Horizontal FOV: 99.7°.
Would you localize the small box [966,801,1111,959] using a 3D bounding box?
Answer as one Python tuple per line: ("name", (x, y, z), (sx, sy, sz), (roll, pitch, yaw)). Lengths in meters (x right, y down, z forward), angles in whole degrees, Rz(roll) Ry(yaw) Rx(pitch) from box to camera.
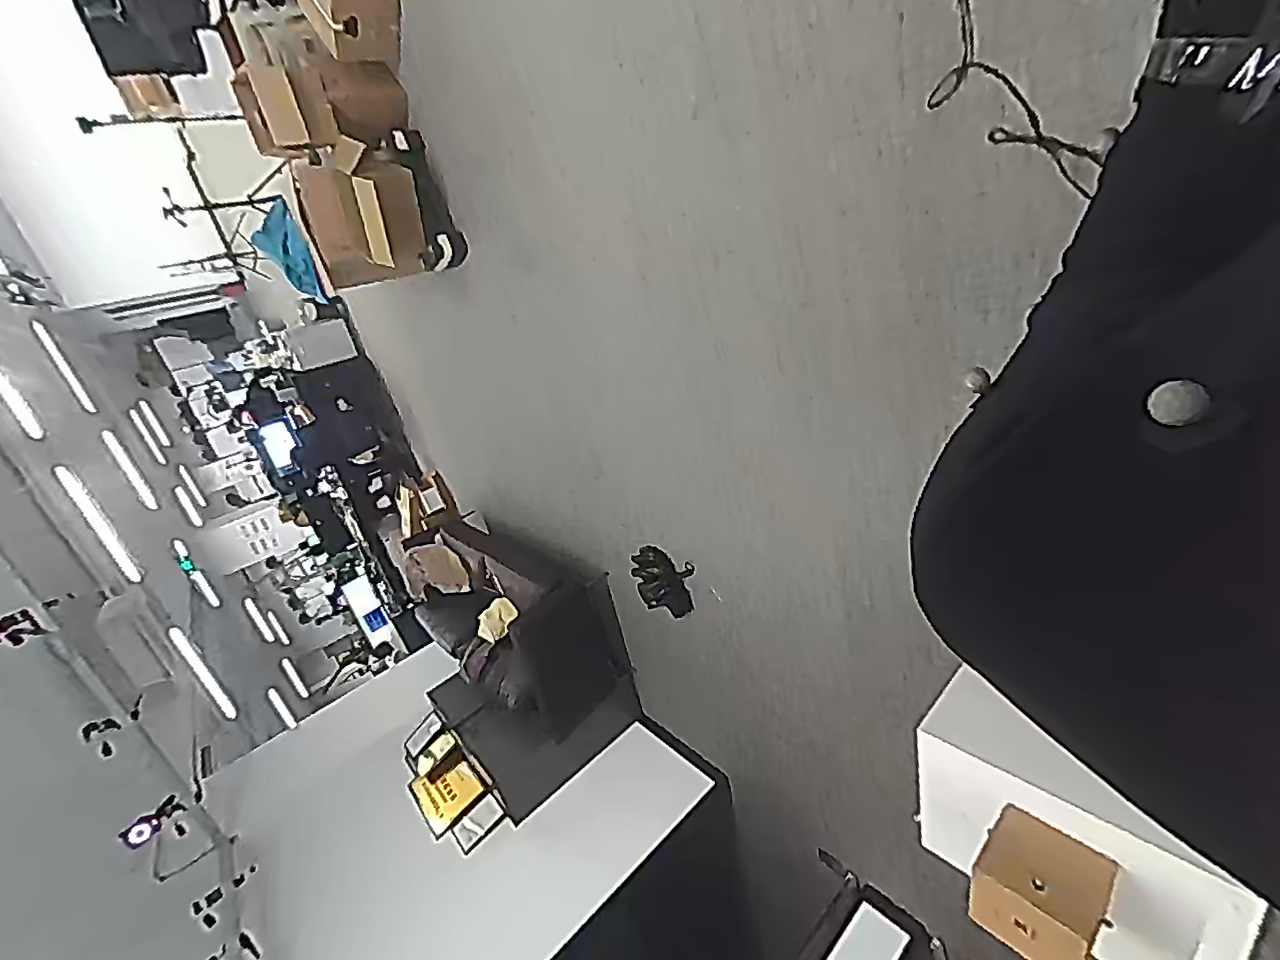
("small box", (0.735, 0.747, 1.001), (0.179, 0.176, 0.168), (17, 127, 49))
